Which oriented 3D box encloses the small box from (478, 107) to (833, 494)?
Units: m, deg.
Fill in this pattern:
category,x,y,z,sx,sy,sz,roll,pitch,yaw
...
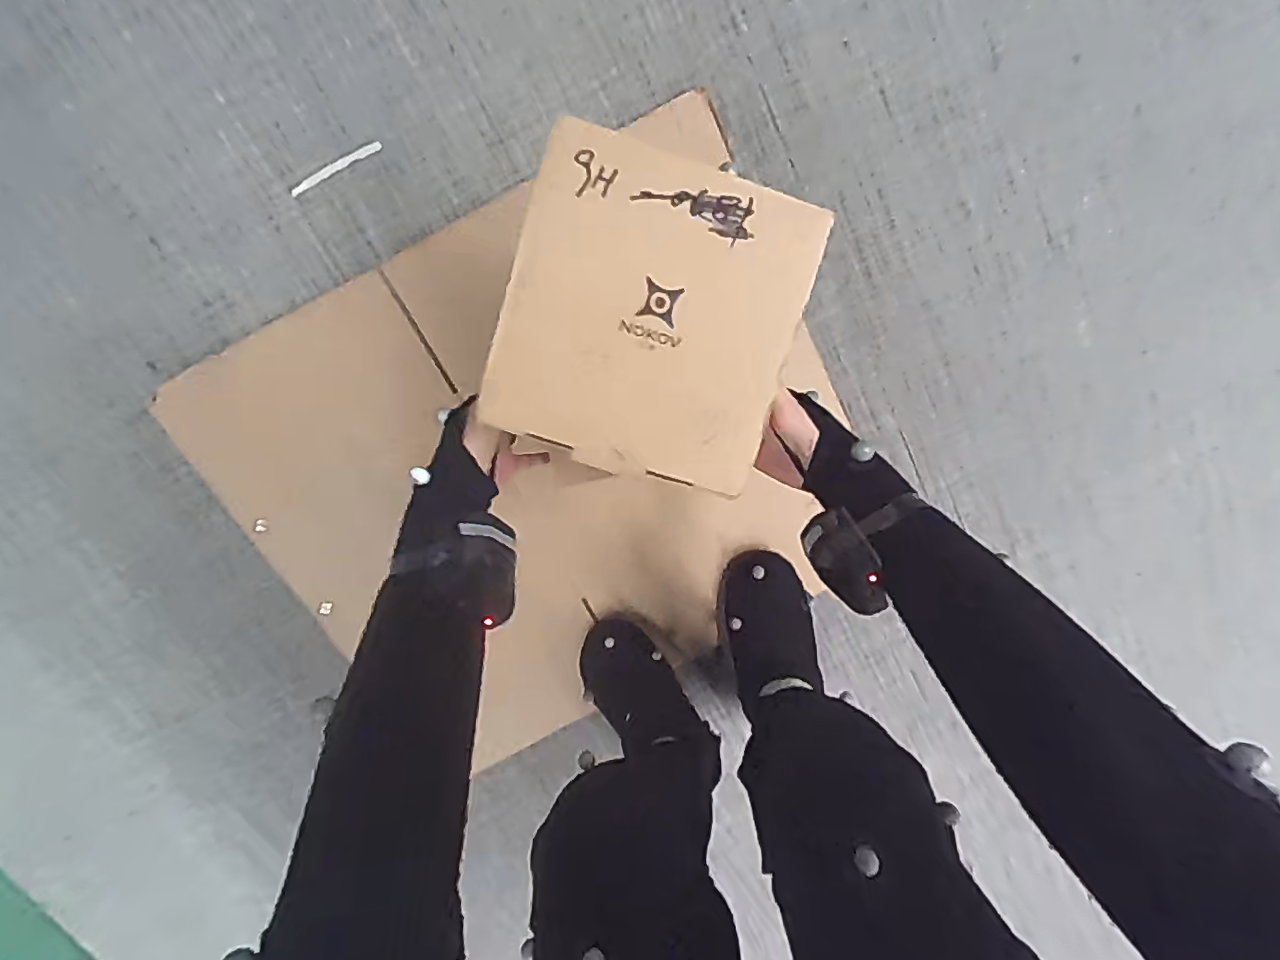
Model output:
category,x,y,z,sx,sy,sz,roll,pitch,yaw
small box,0.003,-0.108,0.388,0.168,0.176,0.179,17,97,-7
